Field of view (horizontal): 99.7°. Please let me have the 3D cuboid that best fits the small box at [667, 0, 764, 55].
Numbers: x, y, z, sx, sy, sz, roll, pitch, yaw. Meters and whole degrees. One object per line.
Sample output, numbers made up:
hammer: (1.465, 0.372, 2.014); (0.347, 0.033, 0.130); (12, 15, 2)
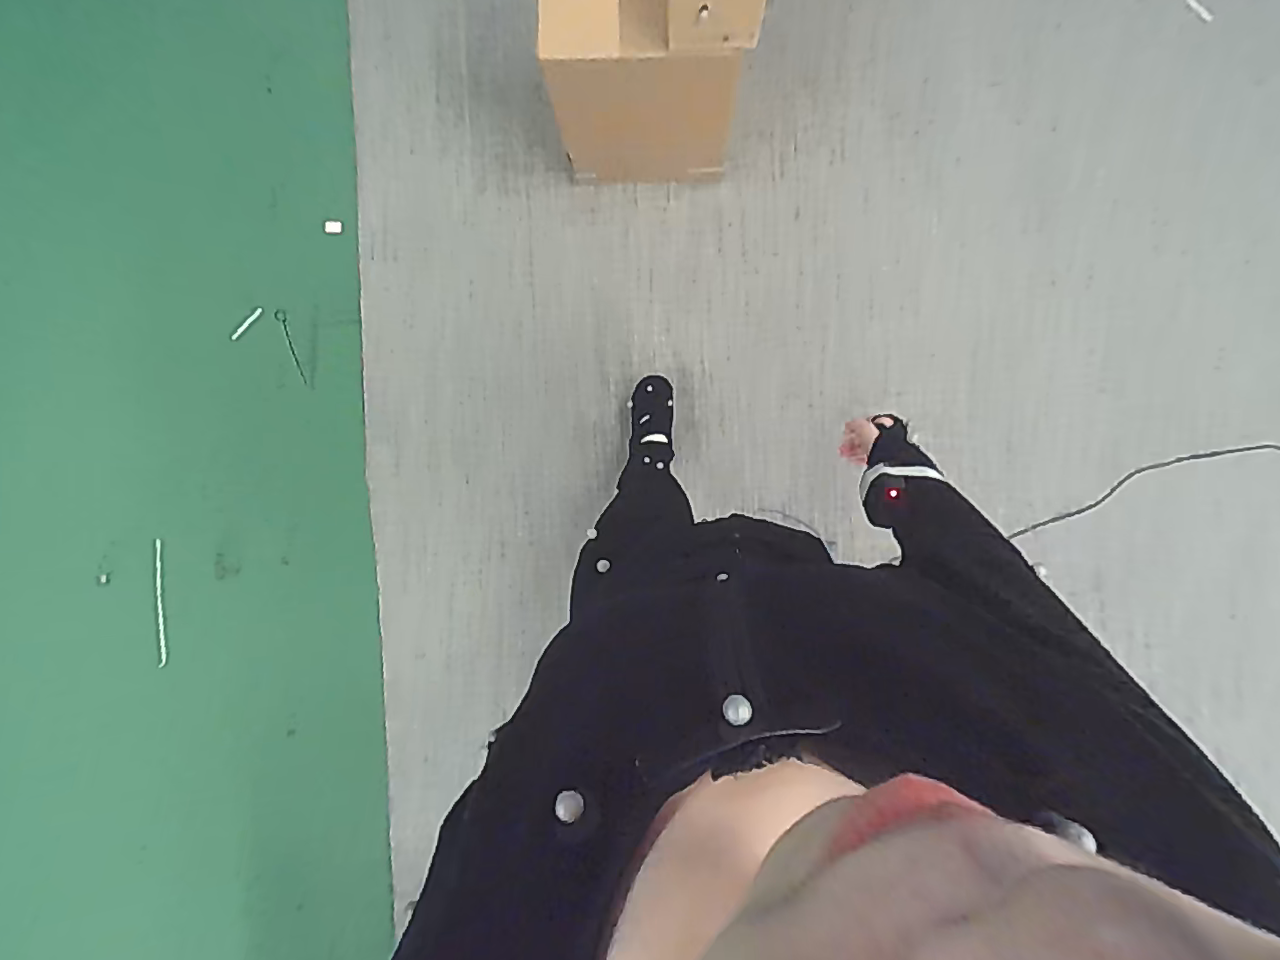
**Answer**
small box: (0.132, -0.890, 0.951); (0.168, 0.176, 0.179); (-1, 89, 3)
